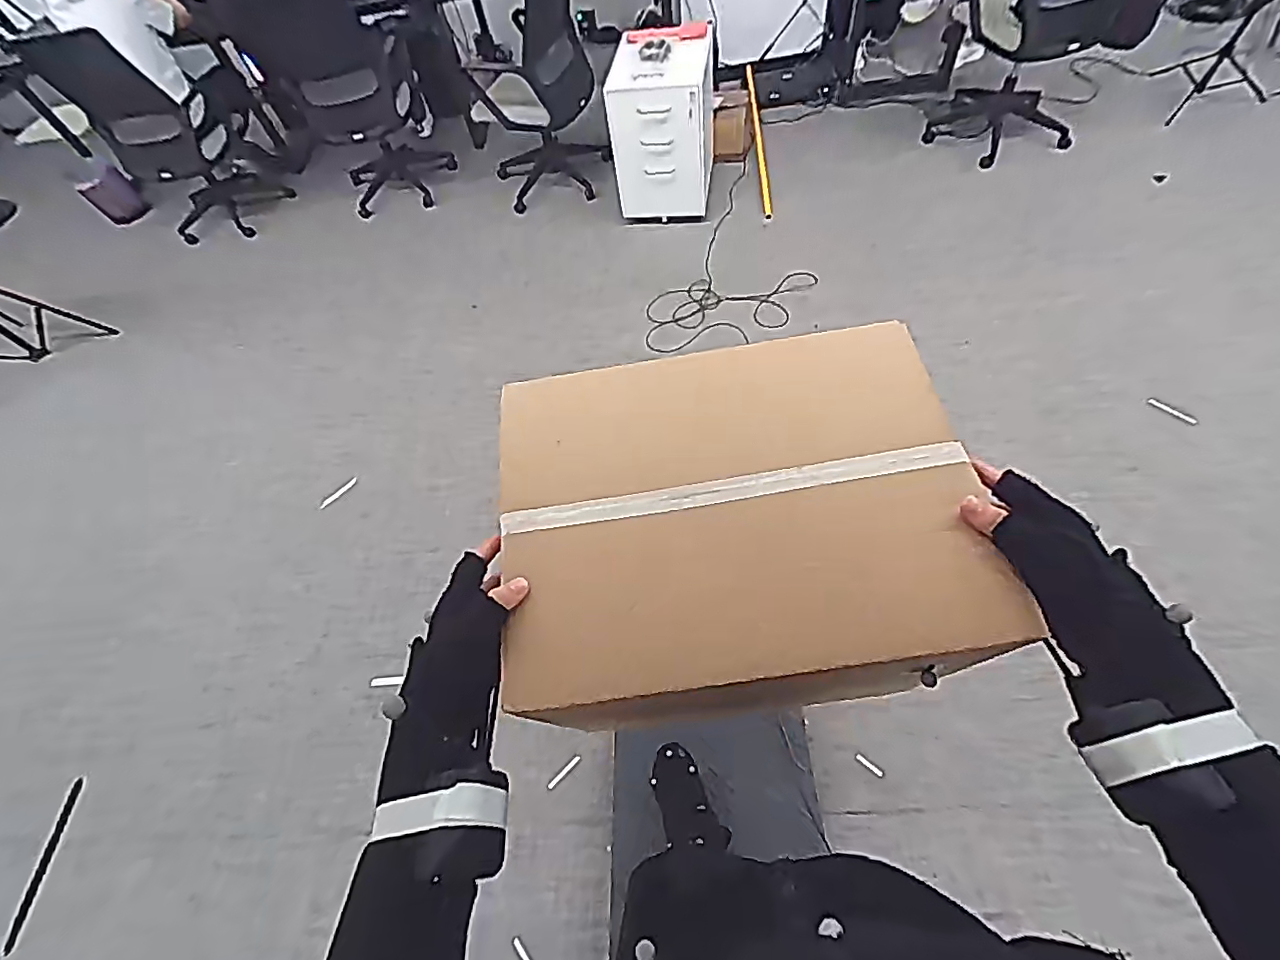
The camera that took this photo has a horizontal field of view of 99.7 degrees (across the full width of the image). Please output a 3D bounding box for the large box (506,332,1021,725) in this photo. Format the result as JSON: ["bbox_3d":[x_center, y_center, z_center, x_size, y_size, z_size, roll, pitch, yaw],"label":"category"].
[{"bbox_3d":[0.093,0.081,0.613,0.408,0.320,0.320,-9,62,2],"label":"large box"}]
